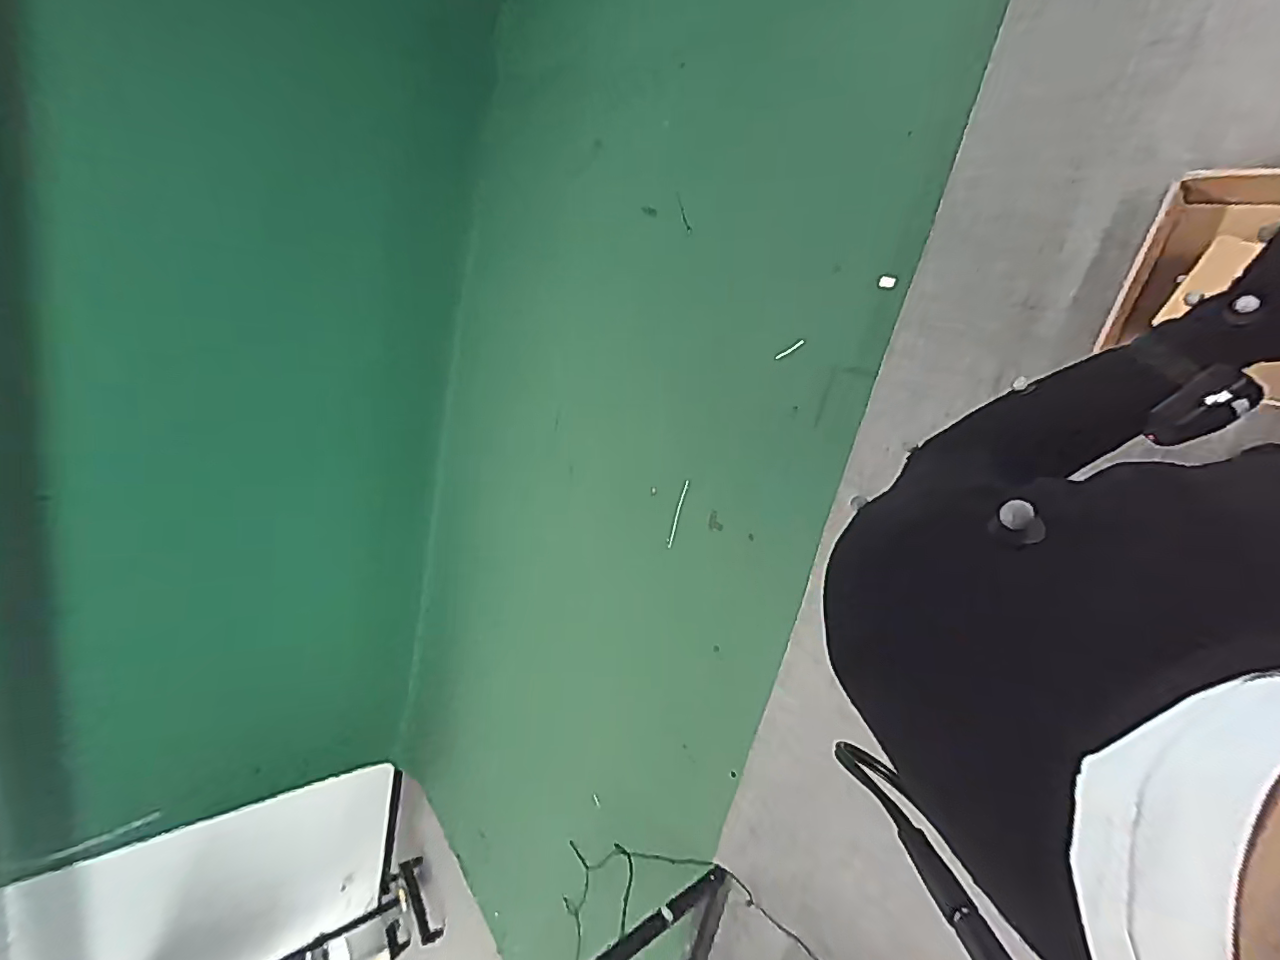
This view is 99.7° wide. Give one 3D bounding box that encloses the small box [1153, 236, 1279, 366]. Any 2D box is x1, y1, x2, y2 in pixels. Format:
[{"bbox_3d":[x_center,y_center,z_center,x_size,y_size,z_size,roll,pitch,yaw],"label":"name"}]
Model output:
[{"bbox_3d":[1.152,-0.337,1.042,0.168,0.176,0.179,43,119,38],"label":"small box"}]
